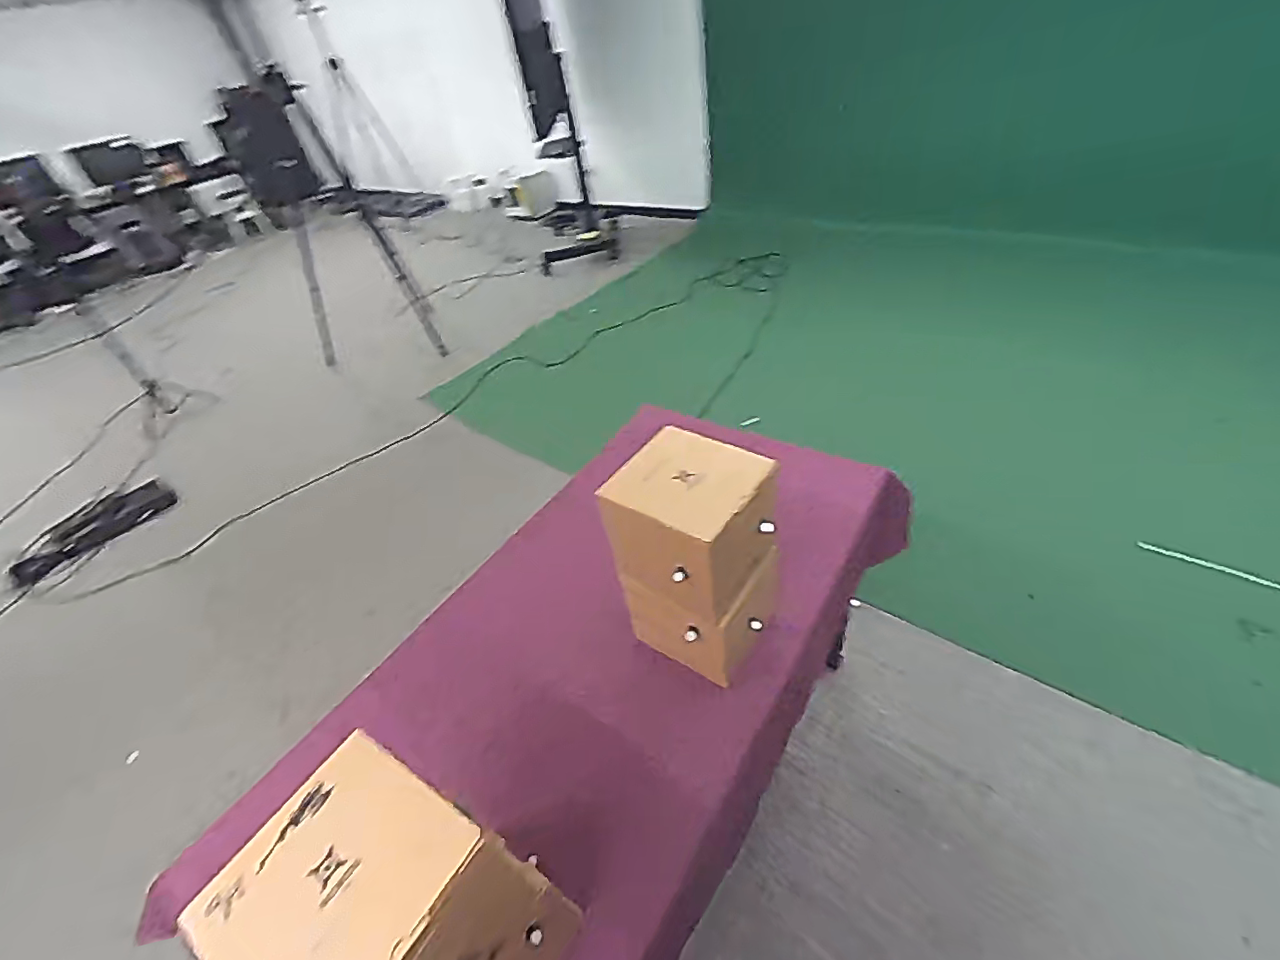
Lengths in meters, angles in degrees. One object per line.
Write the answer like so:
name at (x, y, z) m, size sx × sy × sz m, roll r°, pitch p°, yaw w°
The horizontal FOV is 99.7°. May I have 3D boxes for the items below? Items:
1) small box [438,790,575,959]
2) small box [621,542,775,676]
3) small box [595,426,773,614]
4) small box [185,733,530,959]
small box at (-0.192, 0.486, 0.578) m, size 0.168 × 0.176 × 0.179 m, roll 17°, pitch 48°, yaw 30°
small box at (0.098, 0.179, 0.852) m, size 0.179 × 0.176 × 0.168 m, roll 20°, pitch 50°, yaw 32°
small box at (0.069, 0.057, 0.747) m, size 0.179 × 0.176 × 0.168 m, roll 22°, pitch 51°, yaw 33°
small box at (-0.223, 0.366, 0.470) m, size 0.179 × 0.176 × 0.168 m, roll 17°, pitch 47°, yaw 29°
